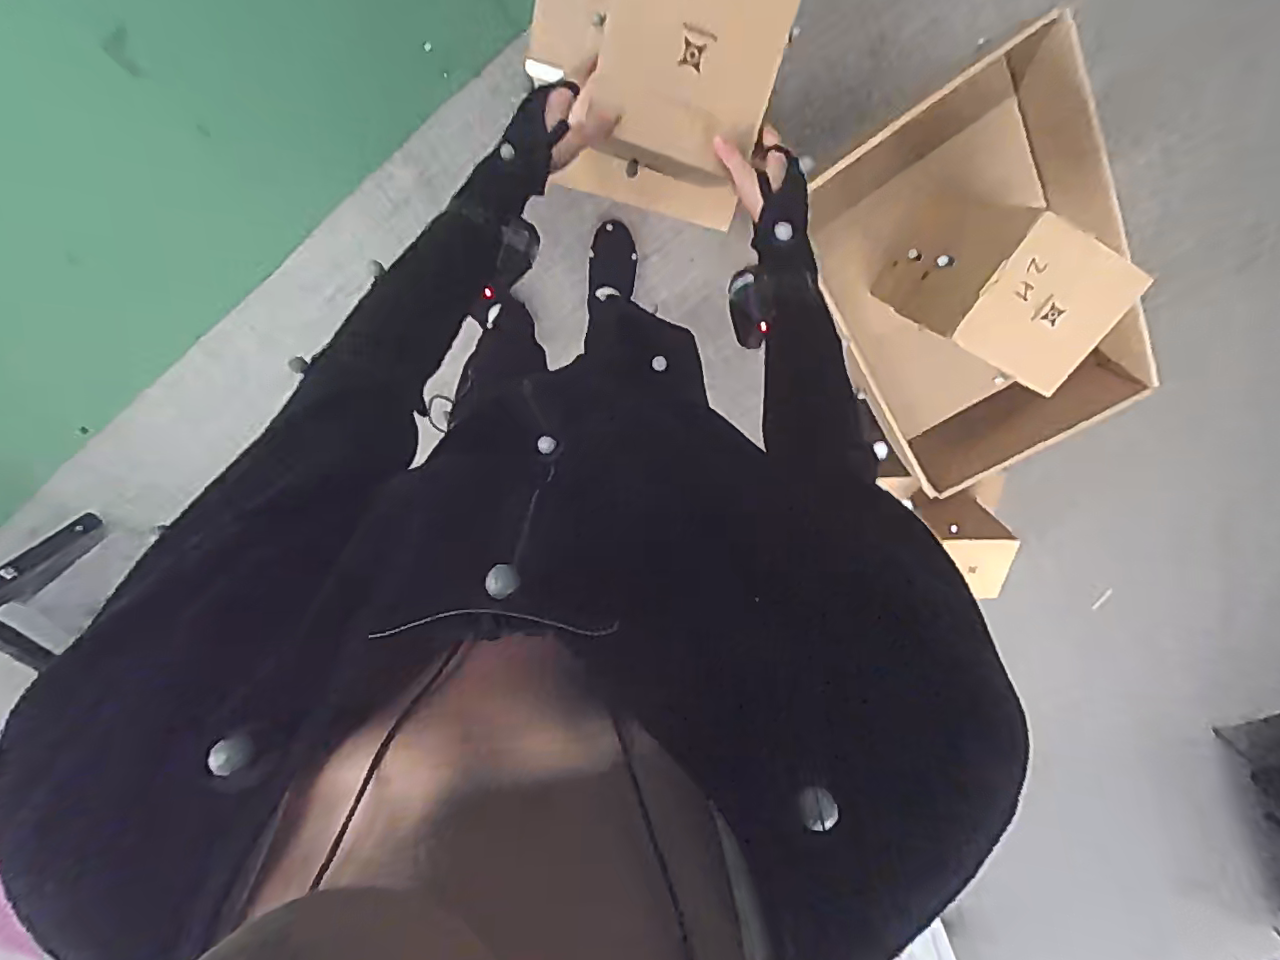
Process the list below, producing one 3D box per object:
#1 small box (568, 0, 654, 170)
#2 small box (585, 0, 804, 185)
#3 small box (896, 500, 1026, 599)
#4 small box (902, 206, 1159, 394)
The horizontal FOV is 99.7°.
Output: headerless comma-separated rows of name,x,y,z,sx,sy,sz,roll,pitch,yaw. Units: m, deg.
small box,-0.002,-0.595,0.827,0.168,0.176,0.179,16,118,-8
small box,0.040,-0.422,0.551,0.168,0.176,0.179,12,115,-13
small box,0.730,0.156,1.251,0.179,0.176,0.168,0,120,-1
small box,0.494,-0.245,0.714,0.179,0.176,0.168,24,116,-12
